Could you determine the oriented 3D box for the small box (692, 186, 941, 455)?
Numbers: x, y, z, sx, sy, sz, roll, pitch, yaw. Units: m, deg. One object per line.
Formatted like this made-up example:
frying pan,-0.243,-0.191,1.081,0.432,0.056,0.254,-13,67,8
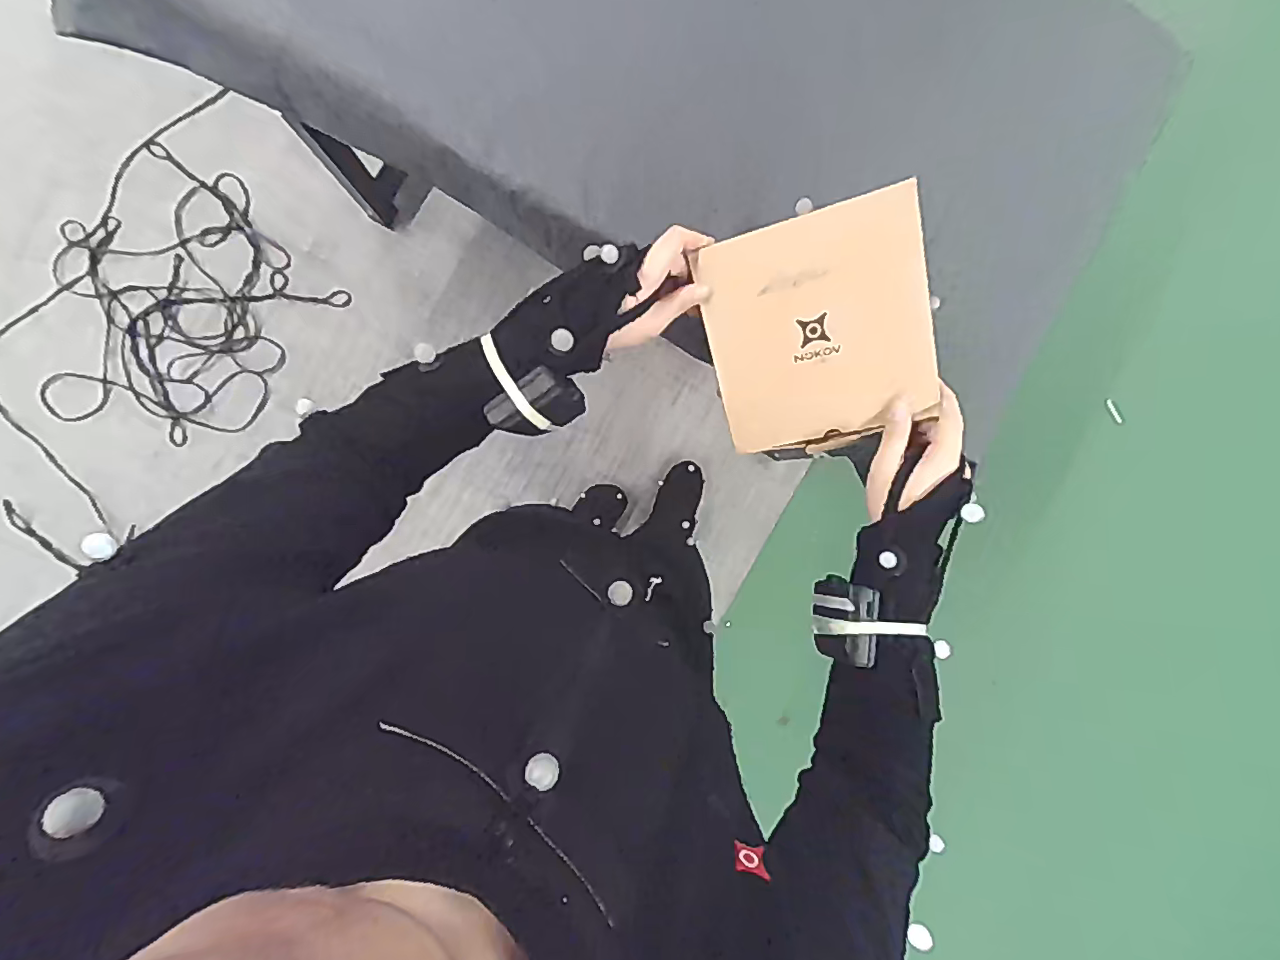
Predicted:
small box,0.159,-0.144,0.498,0.168,0.176,0.179,-12,108,19
